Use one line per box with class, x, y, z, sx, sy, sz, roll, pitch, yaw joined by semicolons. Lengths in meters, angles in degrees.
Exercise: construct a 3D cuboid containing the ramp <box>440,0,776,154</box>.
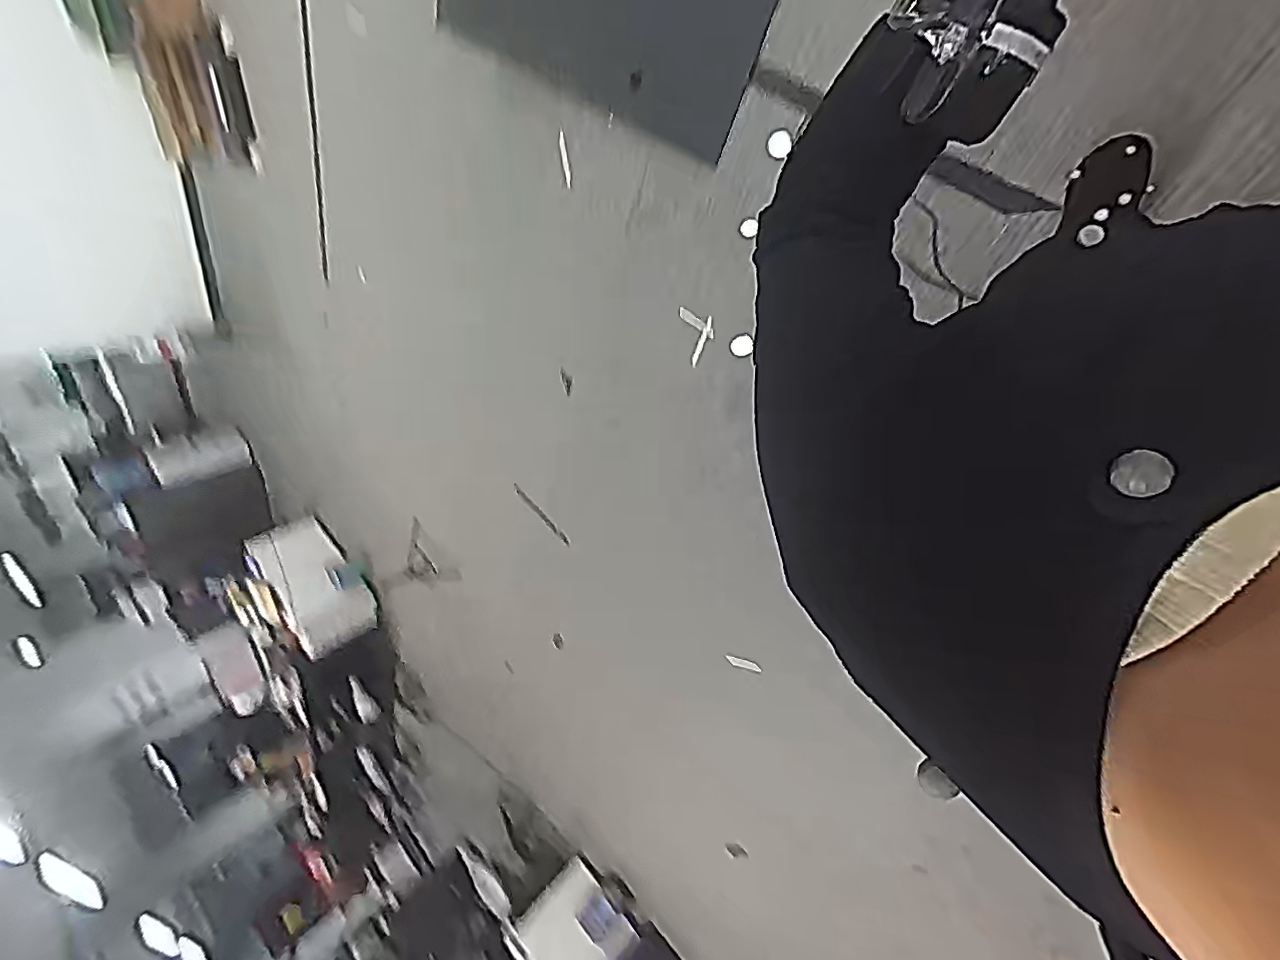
ramp;-0.120;-1.299;1.372;0.991;0.206;0.509;40;132;20
